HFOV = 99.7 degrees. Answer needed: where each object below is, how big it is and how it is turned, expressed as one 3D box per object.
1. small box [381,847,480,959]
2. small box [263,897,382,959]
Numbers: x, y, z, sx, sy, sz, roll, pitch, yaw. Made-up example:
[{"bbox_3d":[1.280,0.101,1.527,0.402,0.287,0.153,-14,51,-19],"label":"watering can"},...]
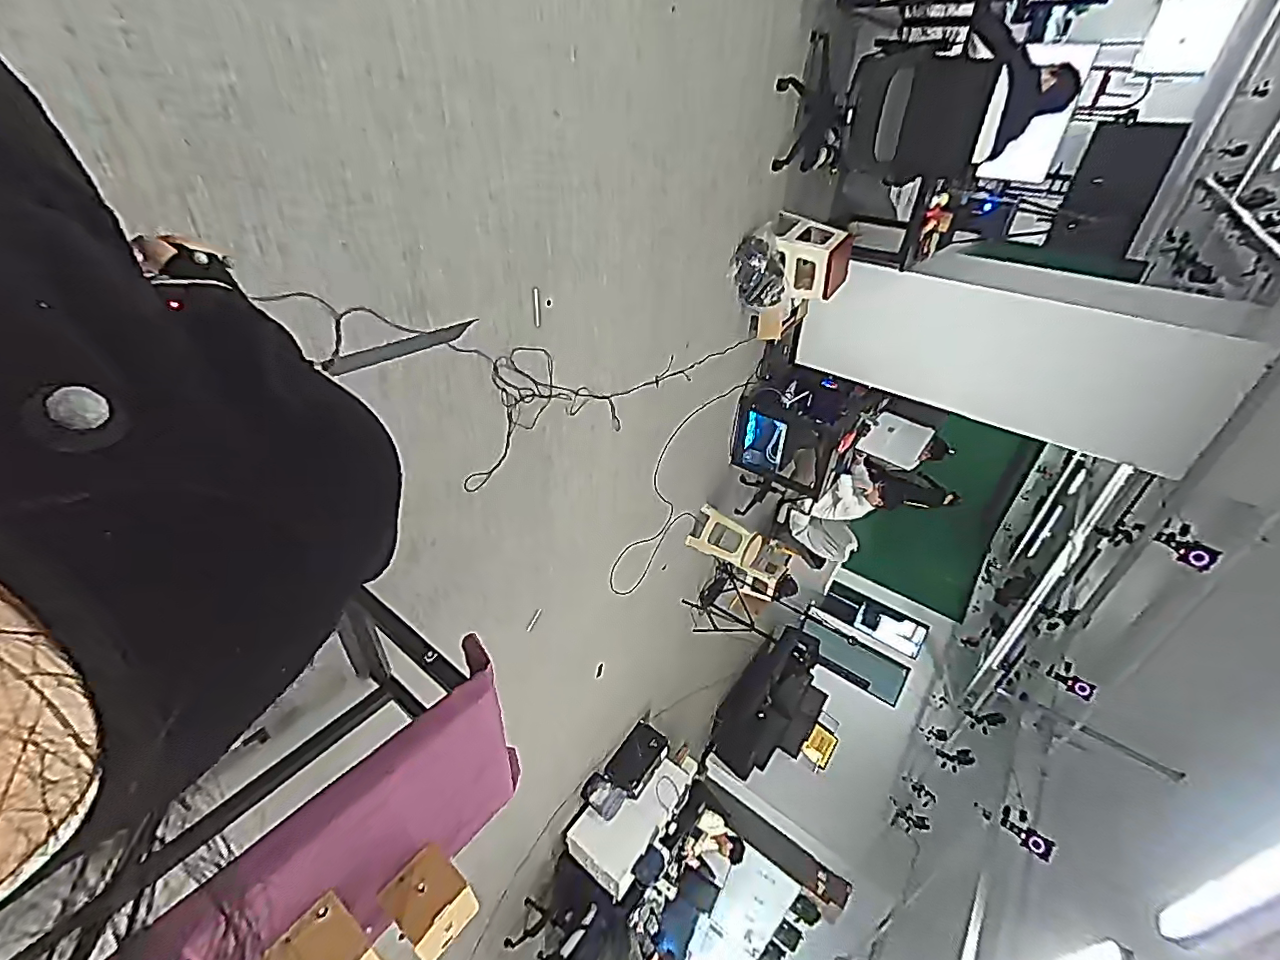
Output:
[{"bbox_3d":[-0.550,1.115,1.422,0.168,0.176,0.179,-36,138,-41],"label":"small box"},{"bbox_3d":[-0.680,1.055,1.165,0.168,0.176,0.179,-35,141,-42],"label":"small box"}]
